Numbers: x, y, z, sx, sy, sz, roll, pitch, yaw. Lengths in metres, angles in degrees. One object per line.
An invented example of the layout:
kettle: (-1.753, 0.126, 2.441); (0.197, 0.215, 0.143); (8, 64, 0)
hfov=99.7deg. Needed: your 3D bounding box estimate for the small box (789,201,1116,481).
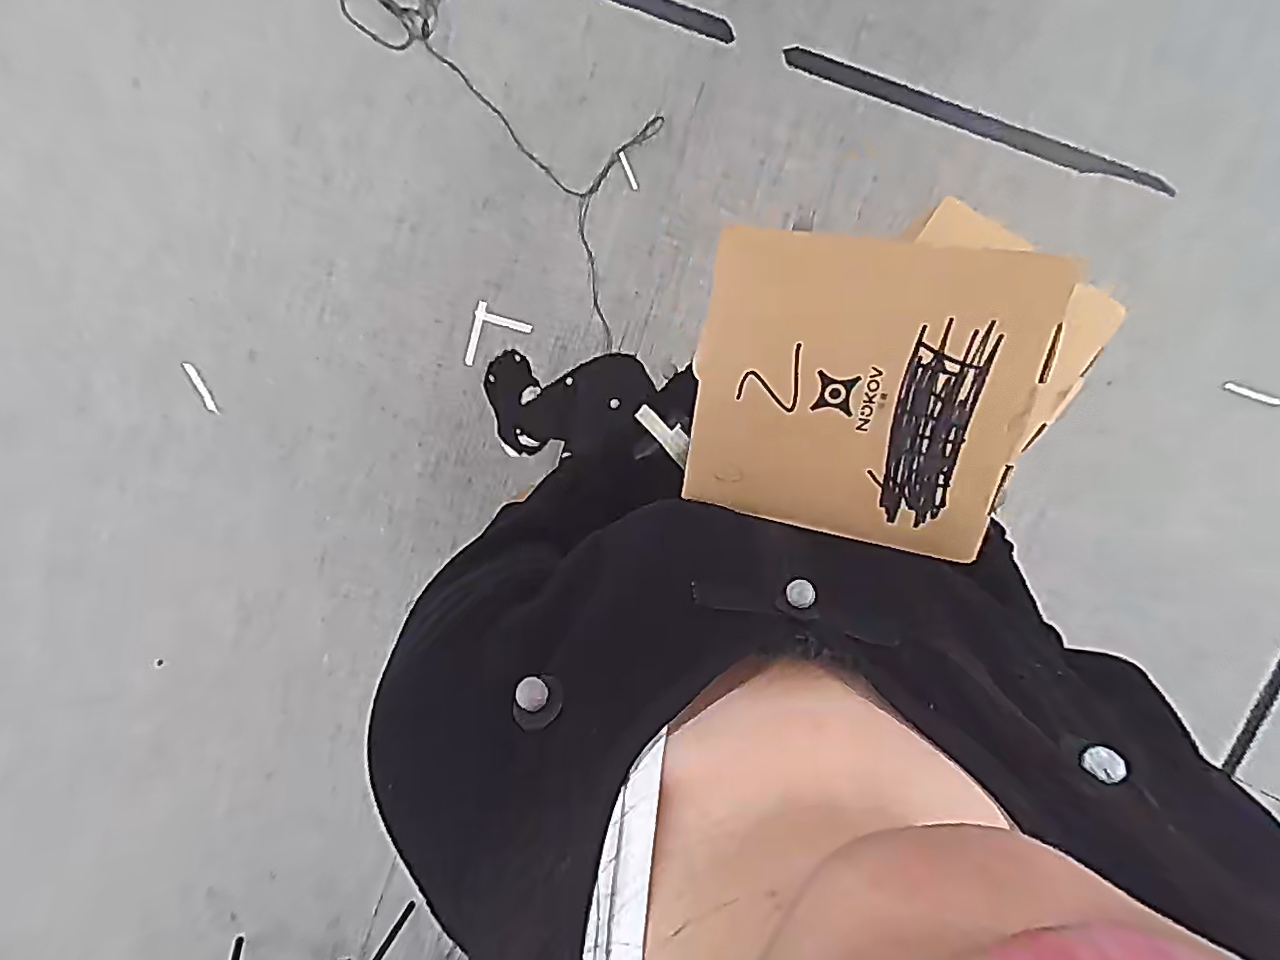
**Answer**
small box: (0.275, -0.122, 0.524); (0.179, 0.176, 0.168); (33, 96, -2)
